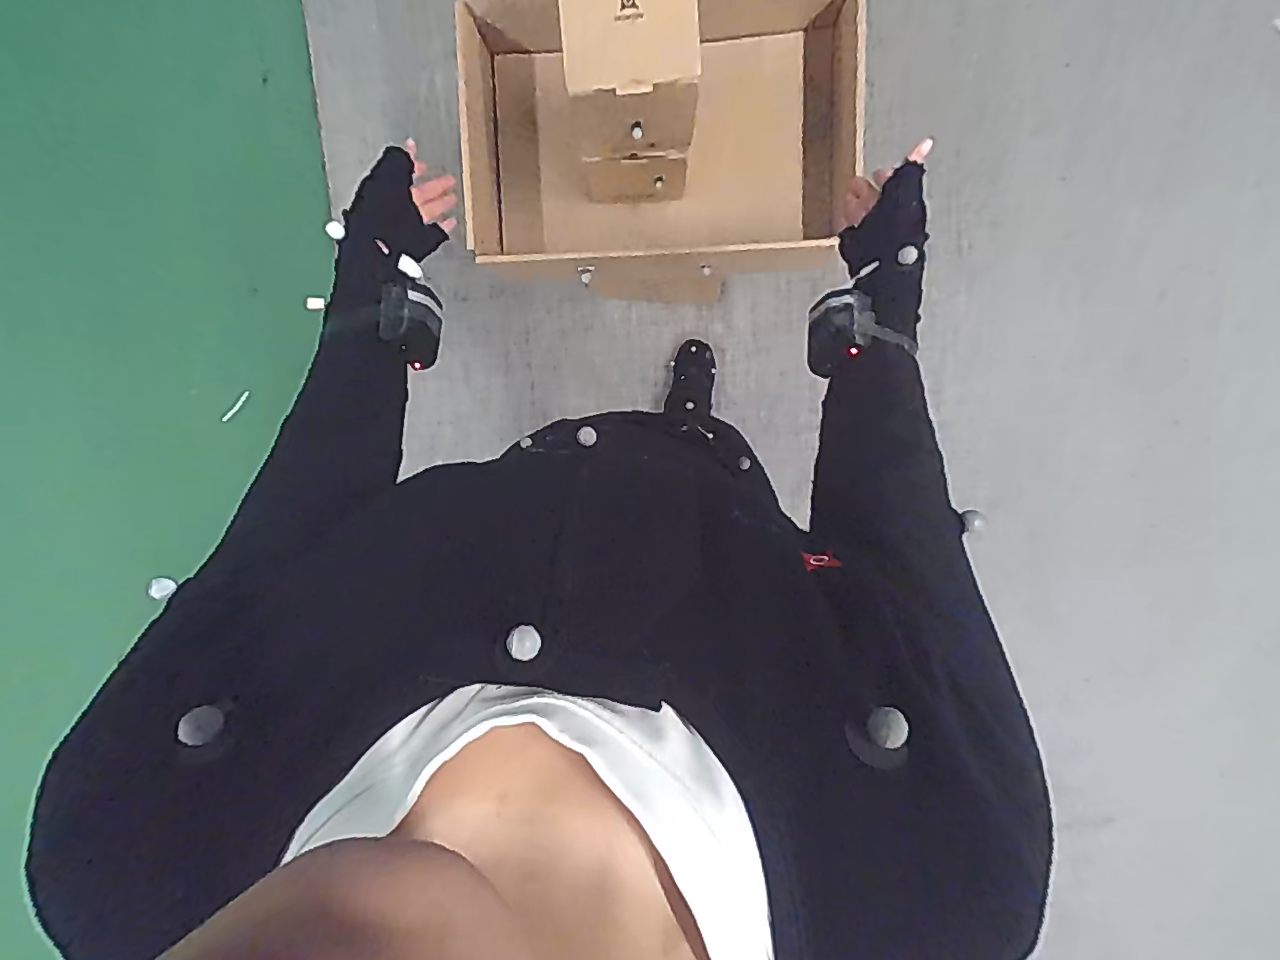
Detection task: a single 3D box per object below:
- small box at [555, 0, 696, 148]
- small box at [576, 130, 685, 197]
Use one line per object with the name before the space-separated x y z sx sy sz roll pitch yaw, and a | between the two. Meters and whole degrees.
small box | -0.015 -0.566 0.716 0.168 0.176 0.179 -4 98 2
small box | -0.012 -0.579 0.880 0.168 0.176 0.179 -2 95 1
